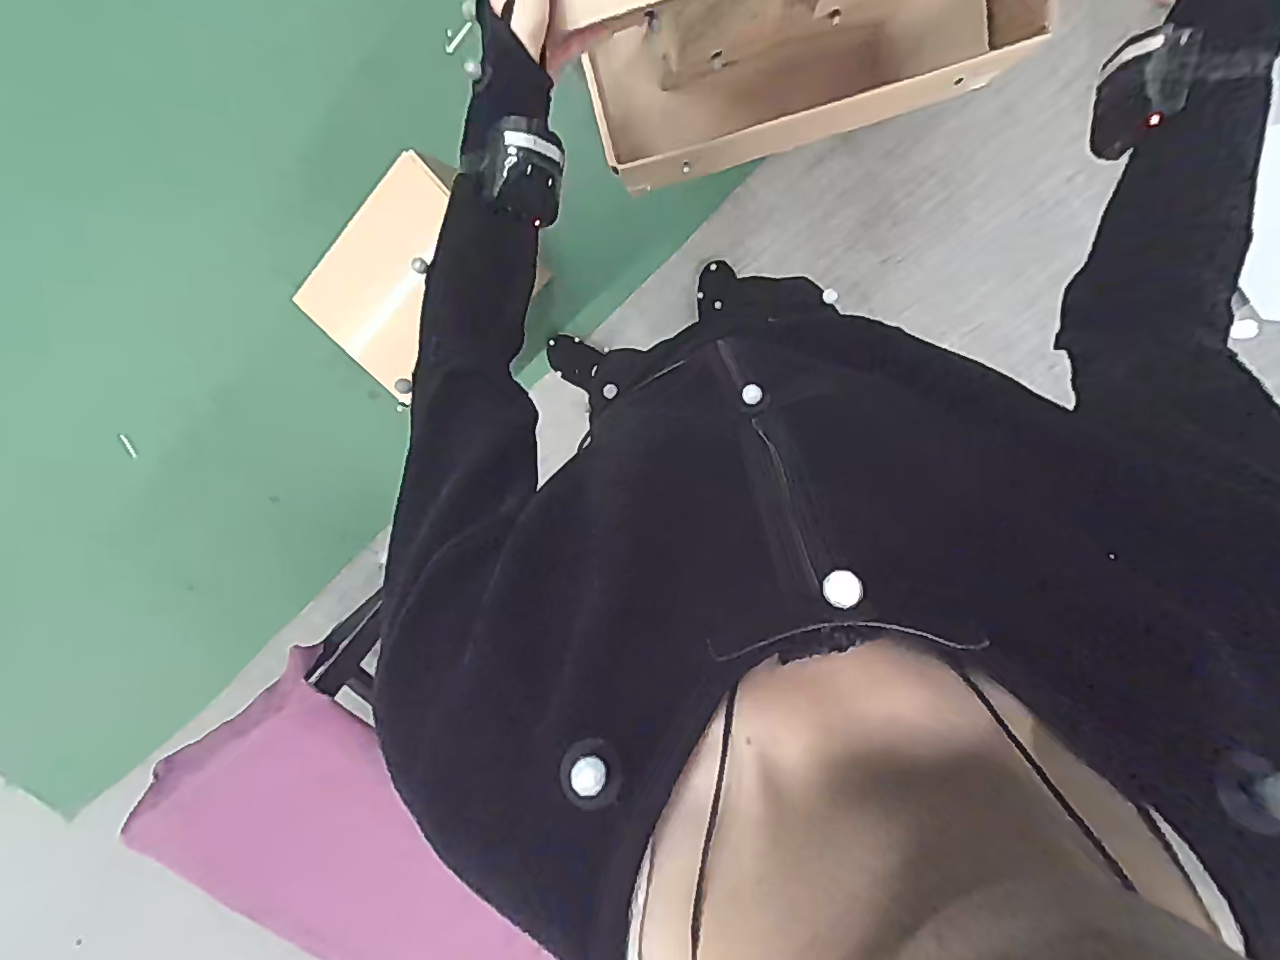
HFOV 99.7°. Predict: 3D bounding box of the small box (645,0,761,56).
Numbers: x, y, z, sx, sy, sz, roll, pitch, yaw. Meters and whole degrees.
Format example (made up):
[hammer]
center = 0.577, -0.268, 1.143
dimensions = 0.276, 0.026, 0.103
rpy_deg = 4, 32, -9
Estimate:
[small box]
center = 0.076, -0.629, 0.597
dimensions = 0.179, 0.176, 0.168
rpy_deg = -29, 106, 13
